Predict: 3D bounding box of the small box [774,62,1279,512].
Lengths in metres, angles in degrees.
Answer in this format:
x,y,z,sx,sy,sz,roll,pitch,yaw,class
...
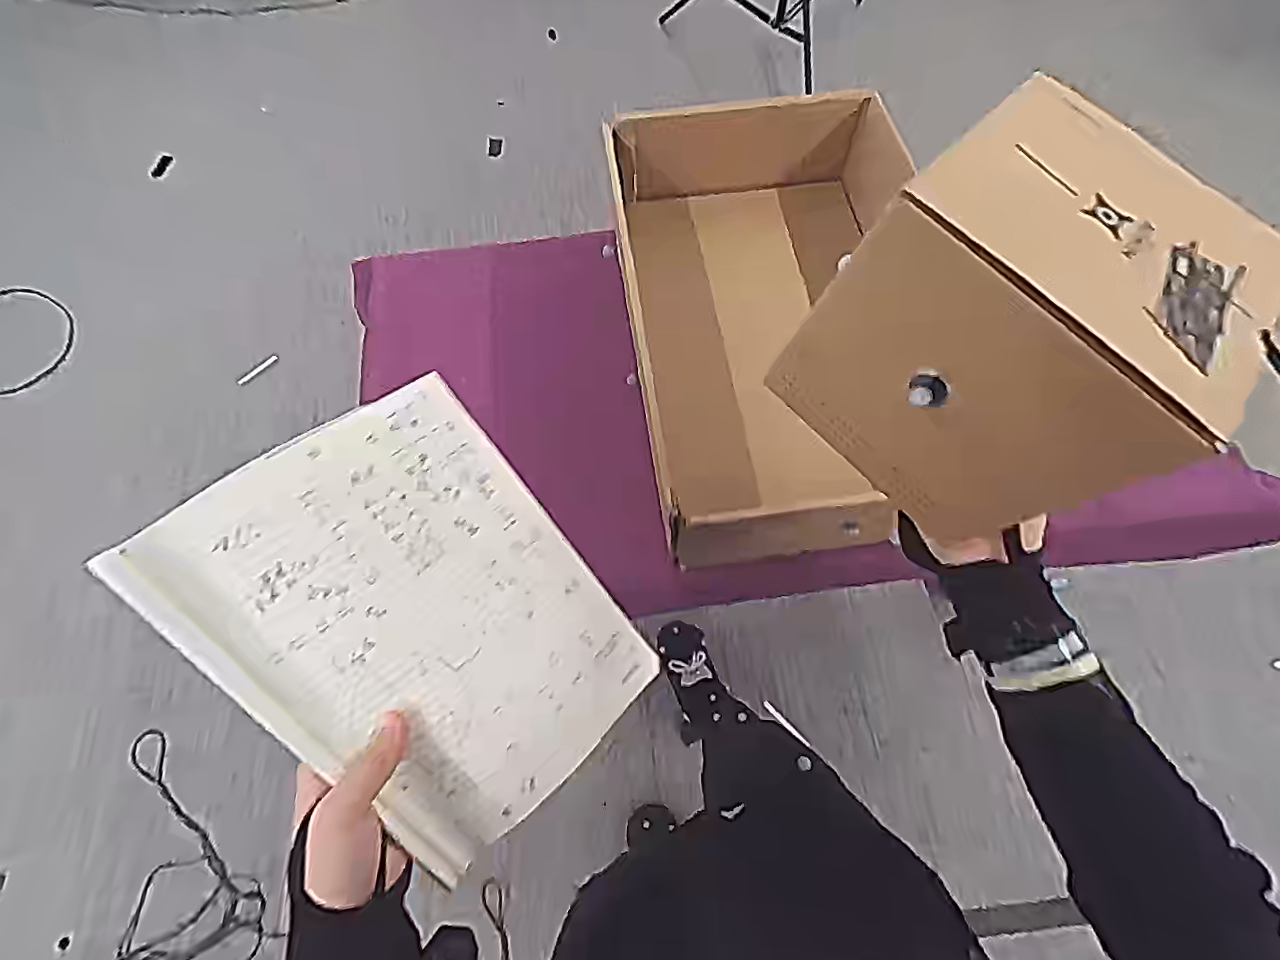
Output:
x,y,z,sx,sy,sz,roll,pitch,yaw,class
0.221,-0.099,0.338,0.179,0.176,0.168,45,67,8,small box
